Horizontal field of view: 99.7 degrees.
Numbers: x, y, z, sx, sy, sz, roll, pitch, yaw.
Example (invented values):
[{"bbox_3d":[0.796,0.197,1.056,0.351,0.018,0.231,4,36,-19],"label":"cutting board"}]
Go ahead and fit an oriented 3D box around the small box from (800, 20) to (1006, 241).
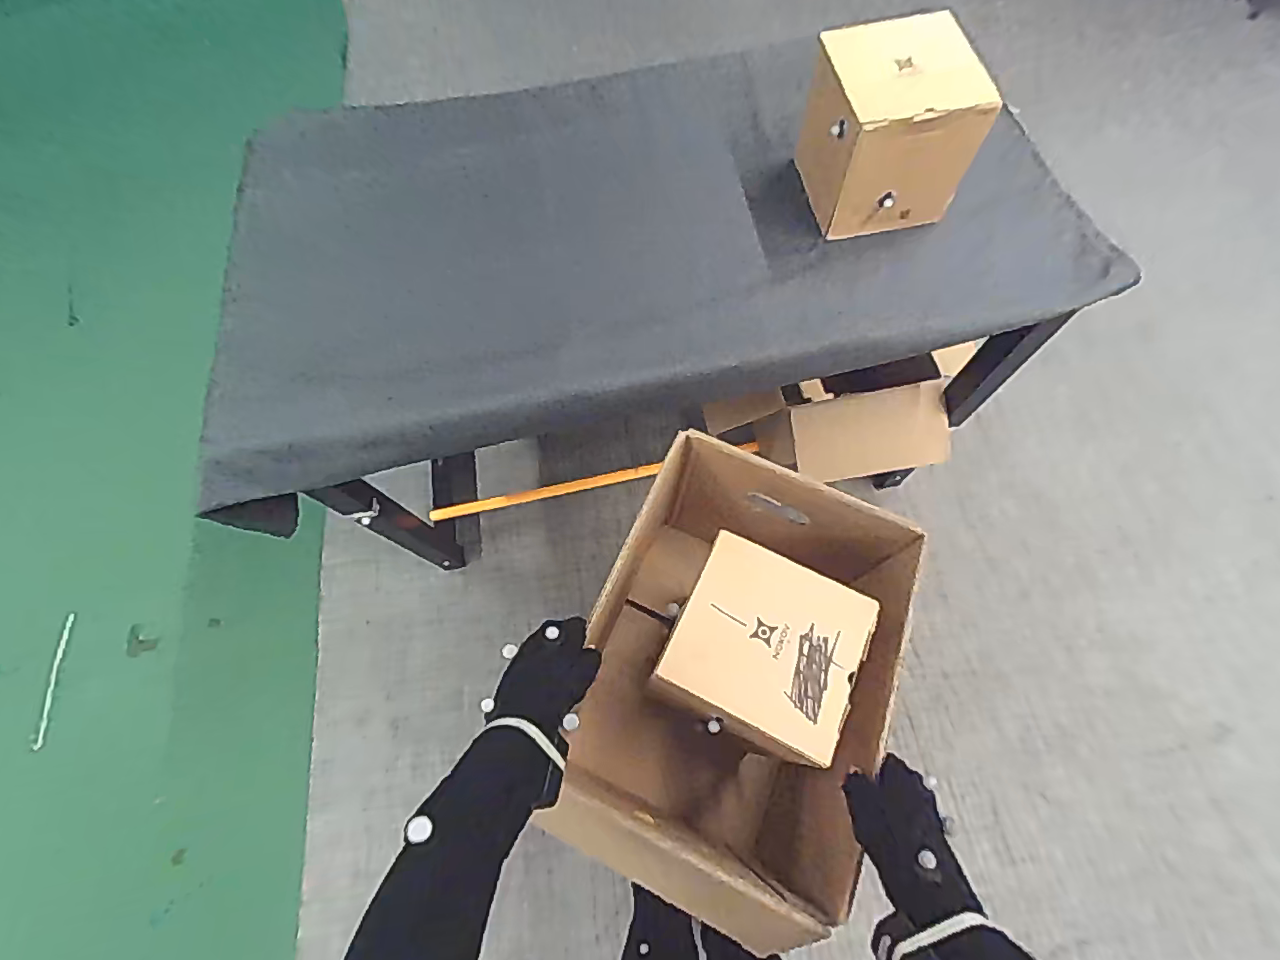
[{"bbox_3d":[0.324,-0.451,0.712,0.168,0.176,0.179,-9,68,0],"label":"small box"}]
